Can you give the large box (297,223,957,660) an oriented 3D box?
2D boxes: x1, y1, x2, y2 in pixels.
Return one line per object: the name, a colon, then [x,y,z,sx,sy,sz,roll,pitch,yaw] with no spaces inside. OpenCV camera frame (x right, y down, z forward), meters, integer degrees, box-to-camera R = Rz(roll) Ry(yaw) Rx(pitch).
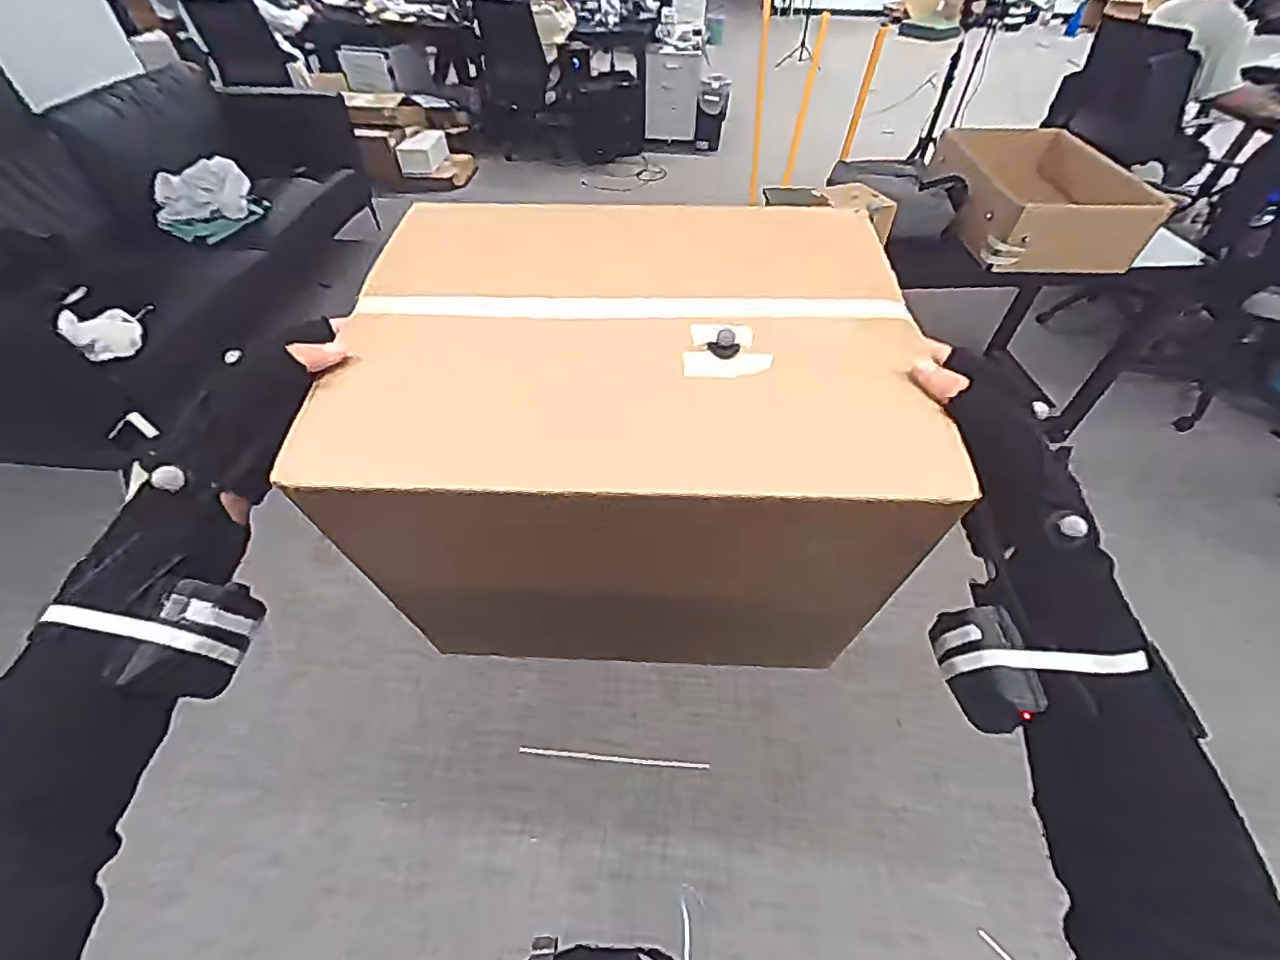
large box: [-0.007,-0.025,0.526,0.408,0.320,0.320,1,55,1]
